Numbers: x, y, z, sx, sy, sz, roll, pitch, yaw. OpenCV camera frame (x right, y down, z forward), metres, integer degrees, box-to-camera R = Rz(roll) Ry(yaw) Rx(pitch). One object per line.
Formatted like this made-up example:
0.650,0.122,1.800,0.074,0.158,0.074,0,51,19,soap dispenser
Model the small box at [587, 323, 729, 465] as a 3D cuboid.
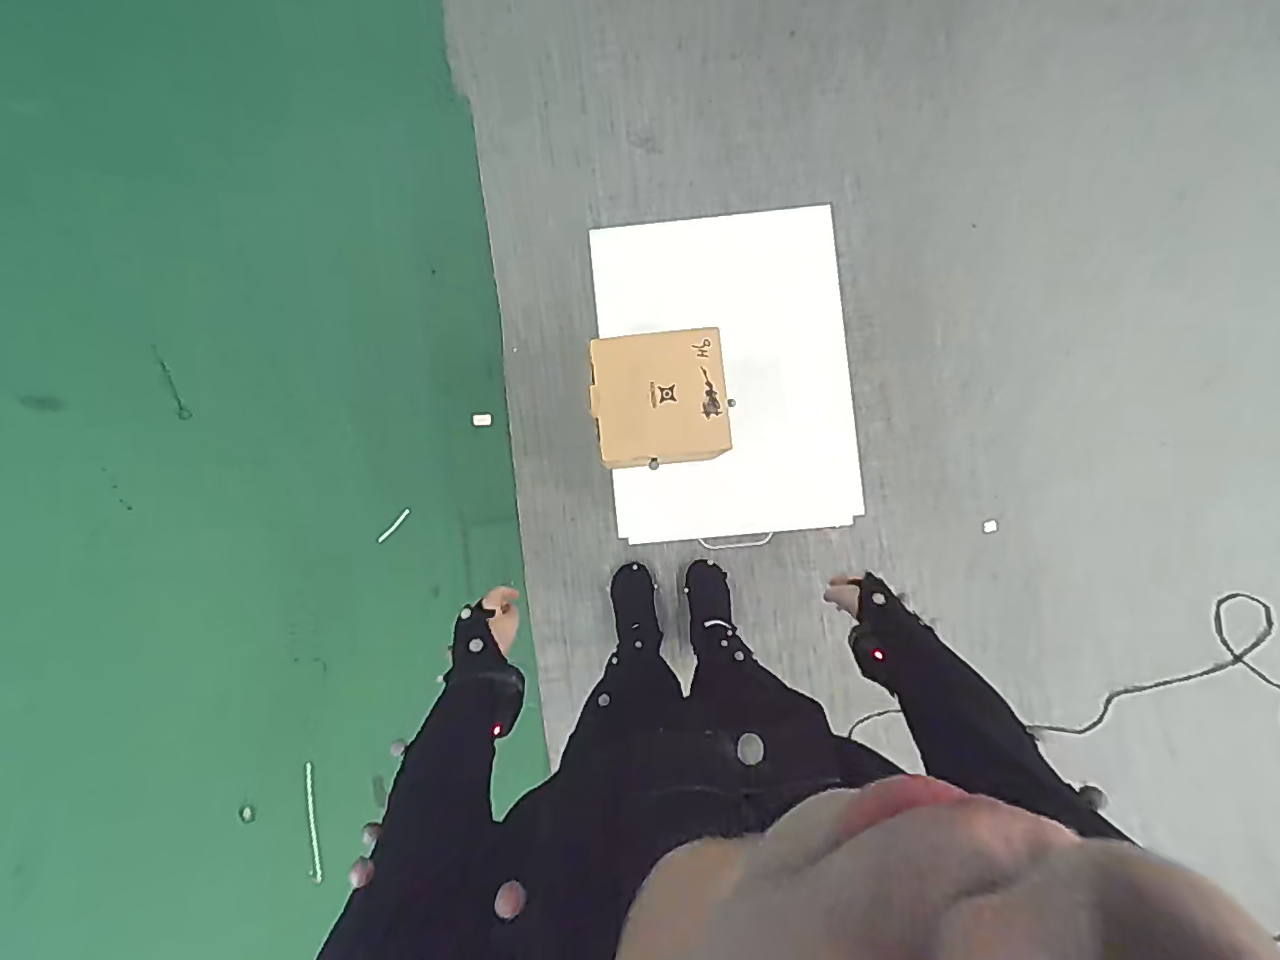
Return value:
0.025,-0.115,0.788,0.179,0.176,0.168,-6,88,0,small box
